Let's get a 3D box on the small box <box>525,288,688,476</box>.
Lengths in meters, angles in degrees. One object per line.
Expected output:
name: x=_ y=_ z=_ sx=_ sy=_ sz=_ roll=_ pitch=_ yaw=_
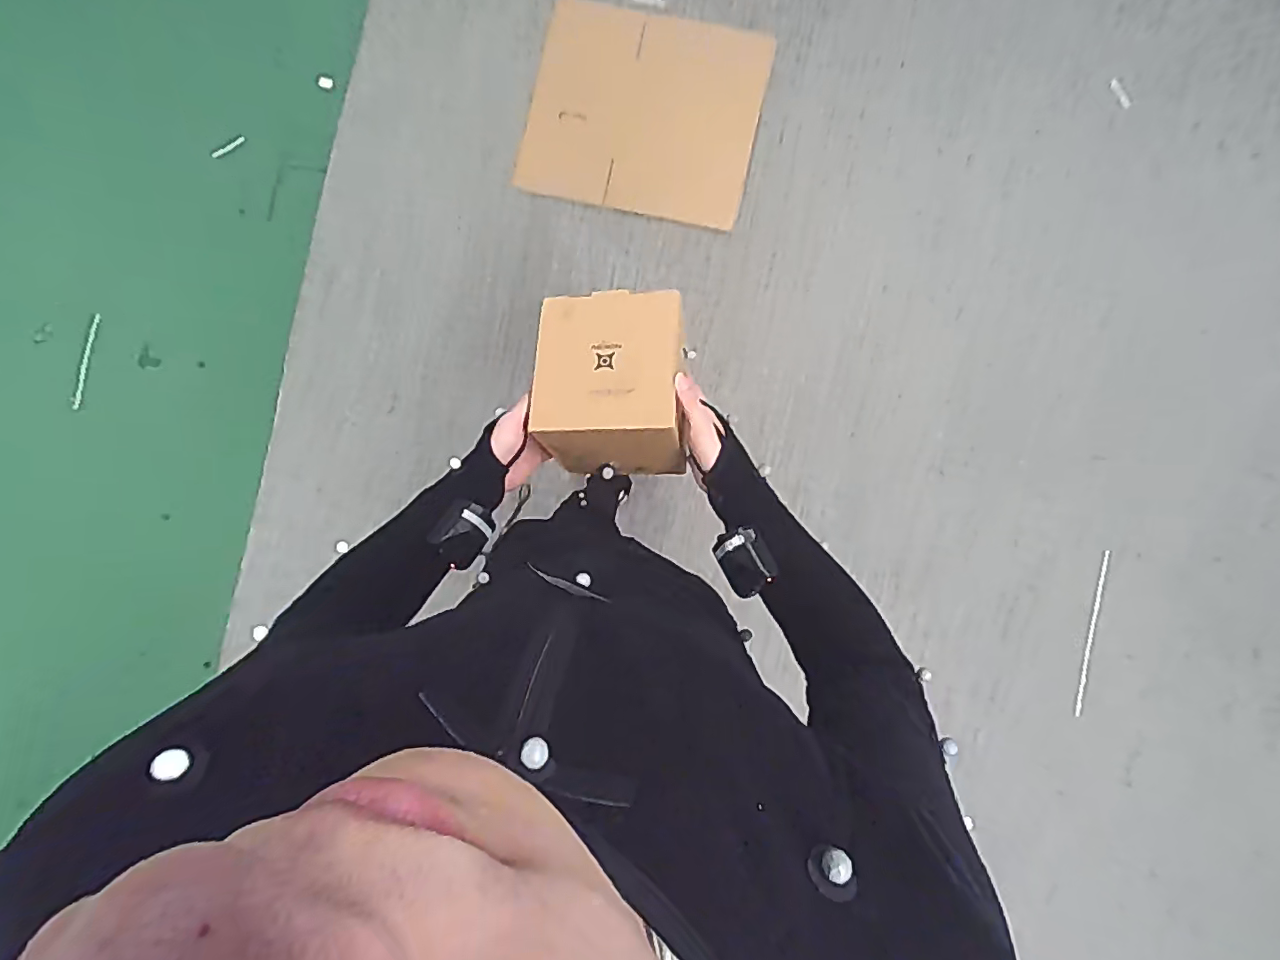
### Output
small box: x=-0.029 y=-0.114 z=0.680 sx=0.168 sy=0.176 sz=0.179 roll=0 pitch=73 yaw=9
